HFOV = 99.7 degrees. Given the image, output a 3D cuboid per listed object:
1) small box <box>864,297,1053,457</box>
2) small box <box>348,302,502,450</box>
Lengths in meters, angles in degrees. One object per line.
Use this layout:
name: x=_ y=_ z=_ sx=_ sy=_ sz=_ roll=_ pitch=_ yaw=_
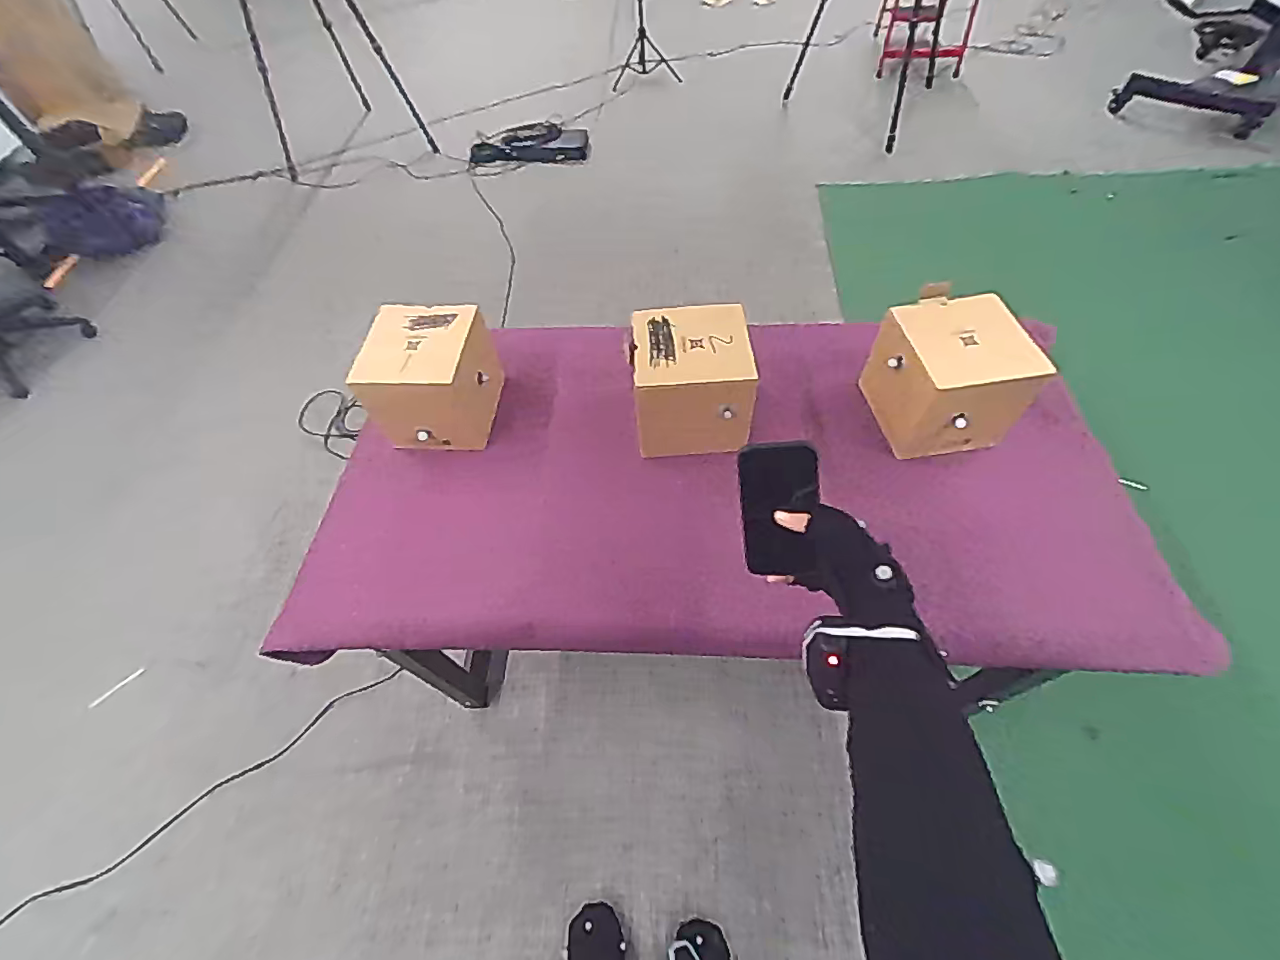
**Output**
small box: x=0.471 y=-0.150 z=0.834 sx=0.168 sy=0.176 sz=0.179 roll=-8 pitch=55 yaw=-1
small box: x=-0.340 y=-0.172 z=0.901 sx=0.168 sy=0.176 sz=0.179 roll=2 pitch=58 yaw=5
